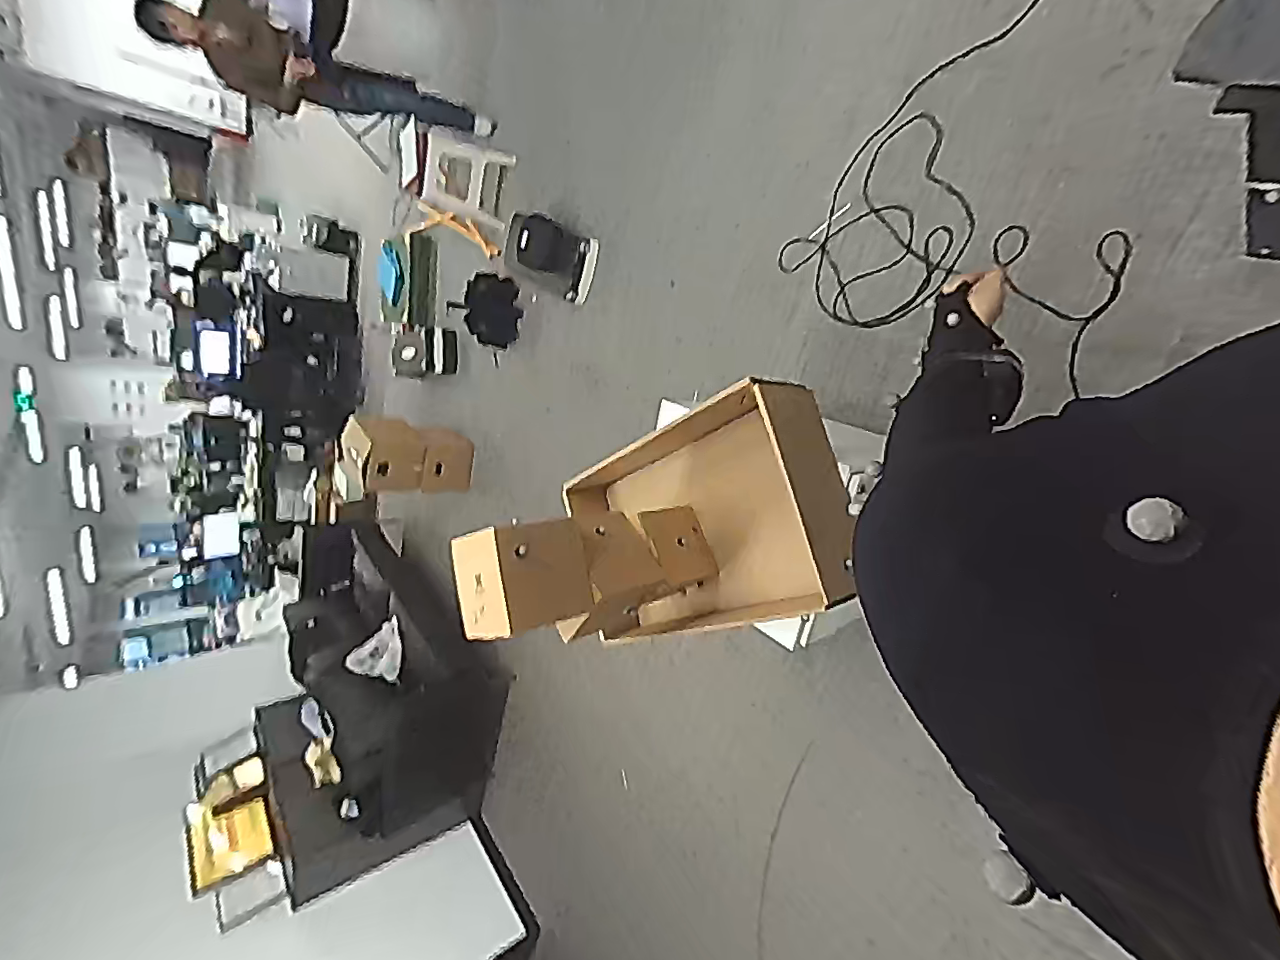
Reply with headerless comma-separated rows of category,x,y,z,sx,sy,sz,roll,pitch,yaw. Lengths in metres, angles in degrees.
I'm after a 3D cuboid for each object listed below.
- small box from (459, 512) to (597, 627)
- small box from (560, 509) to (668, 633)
small box,-0.200,0.156,0.969,0.168,0.176,0.179,-18,82,47
small box,-0.078,0.172,1.083,0.179,0.176,0.168,54,130,26
